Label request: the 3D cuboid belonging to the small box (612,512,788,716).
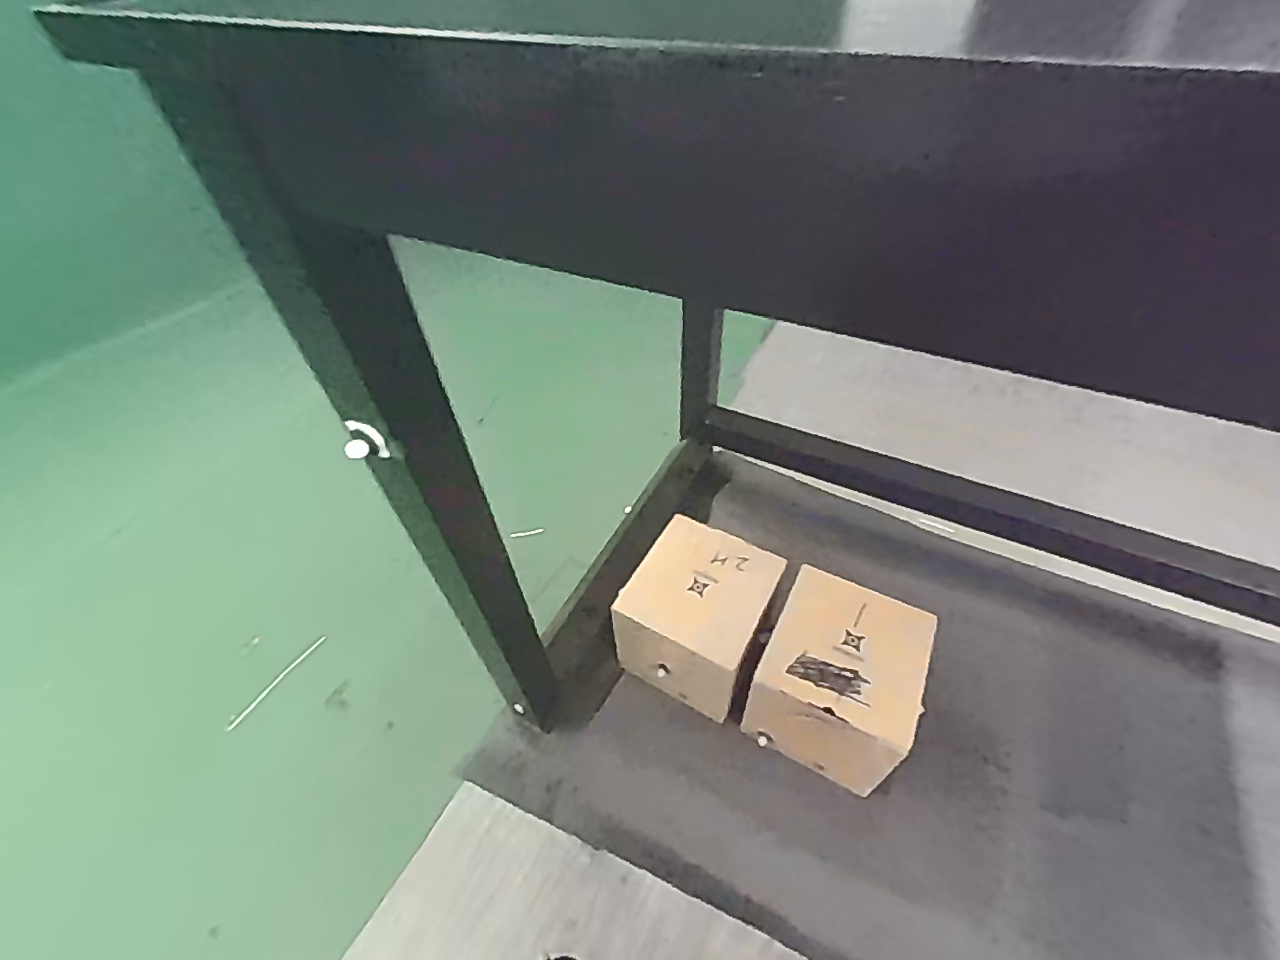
[{"bbox_3d":[0.081,0.183,0.731,0.168,0.176,0.179,23,52,22],"label":"small box"}]
